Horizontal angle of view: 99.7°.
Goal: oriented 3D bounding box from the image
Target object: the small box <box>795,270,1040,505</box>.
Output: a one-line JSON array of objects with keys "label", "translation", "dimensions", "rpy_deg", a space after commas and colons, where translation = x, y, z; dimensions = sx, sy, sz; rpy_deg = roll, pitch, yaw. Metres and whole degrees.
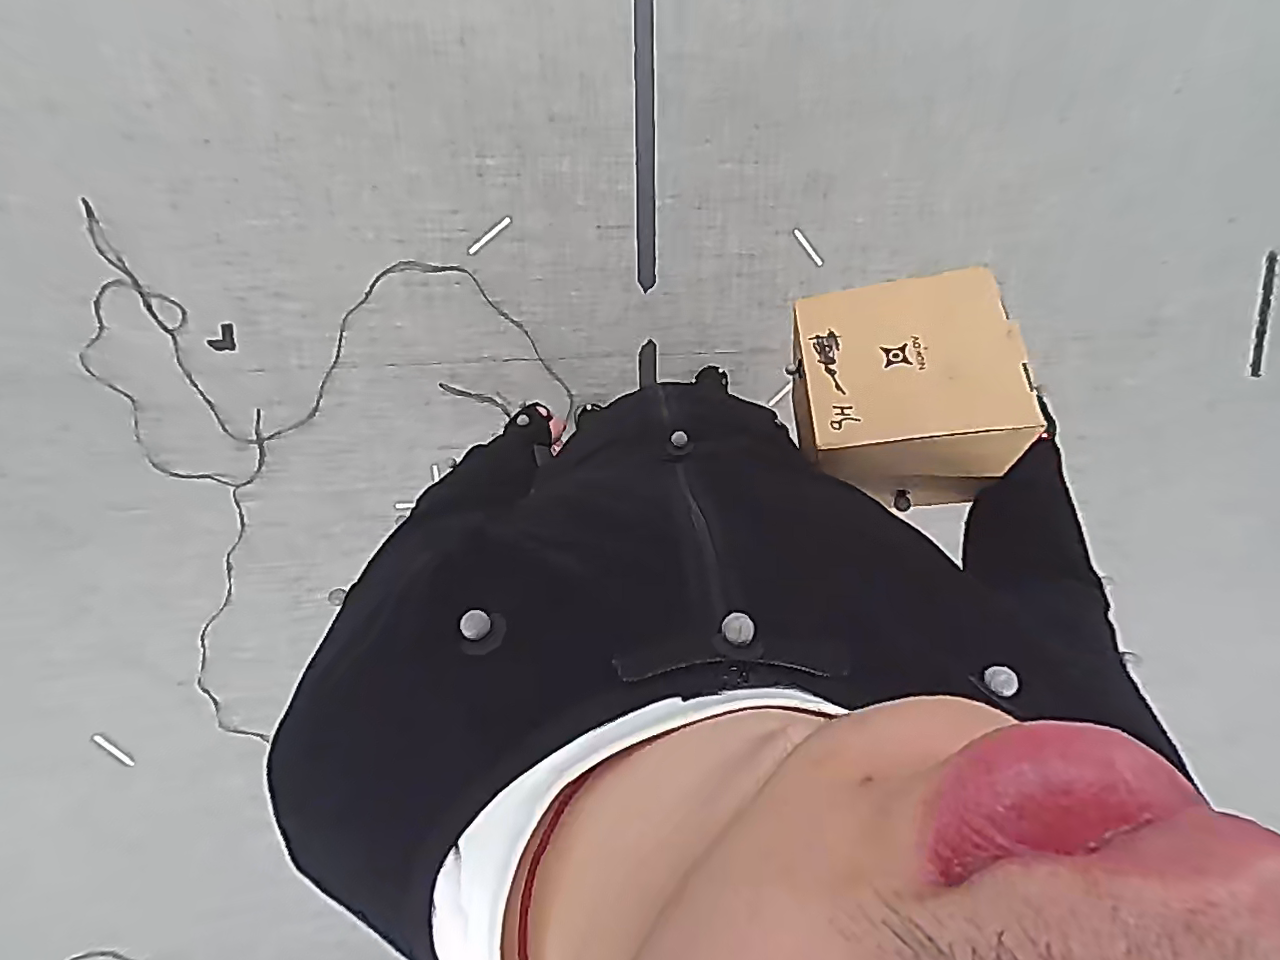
[{"label": "small box", "translation": [0.261, -0.083, 0.559], "dimensions": [0.179, 0.176, 0.168], "rpy_deg": [-6, 65, 12]}]
